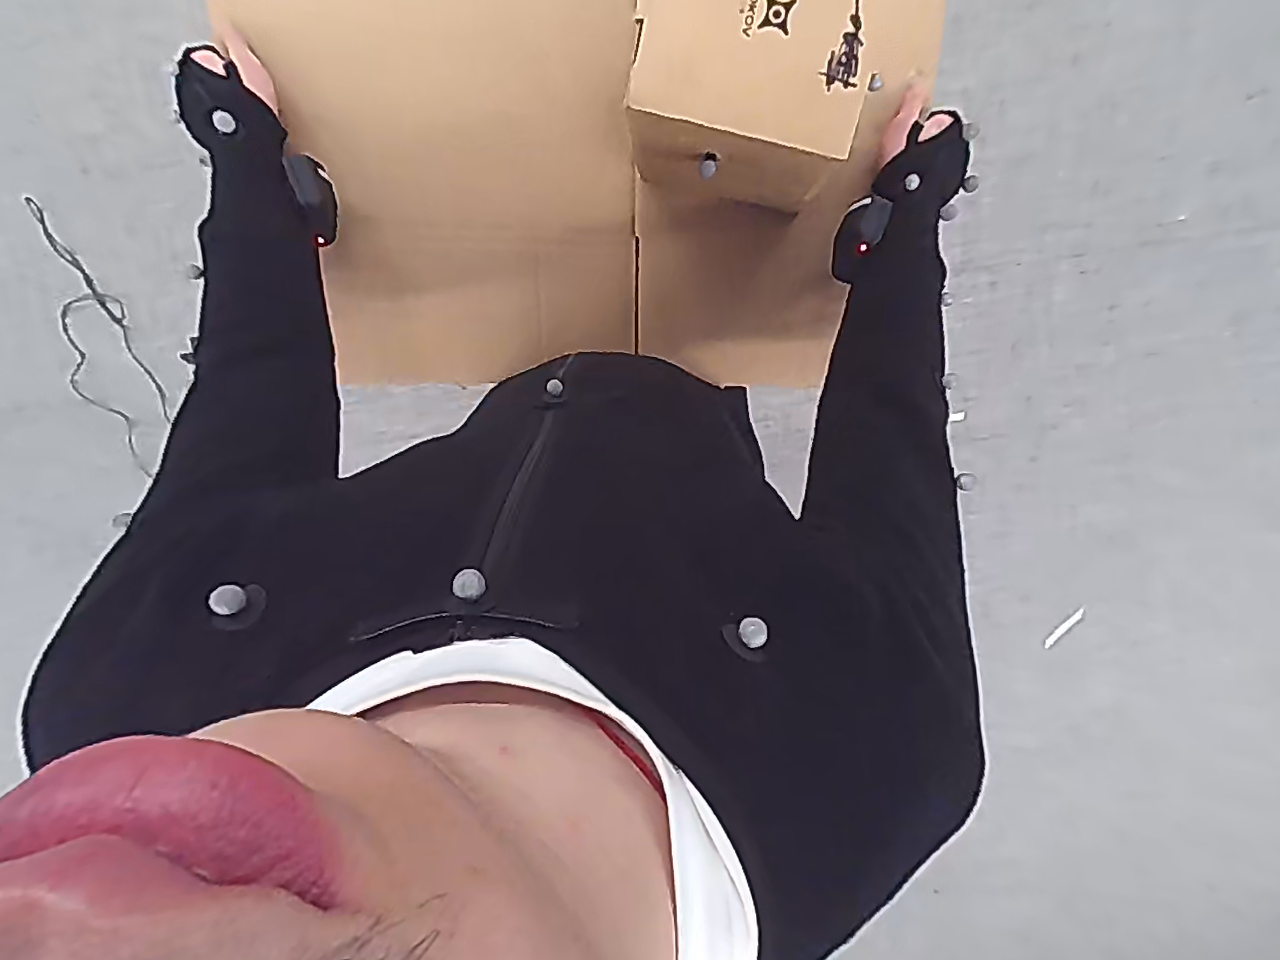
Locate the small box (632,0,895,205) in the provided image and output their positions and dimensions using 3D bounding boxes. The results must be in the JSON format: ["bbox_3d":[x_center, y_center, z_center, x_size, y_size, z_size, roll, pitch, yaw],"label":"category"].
[{"bbox_3d":[0.103,-0.363,0.476,0.179,0.176,0.168,14,104,1],"label":"small box"}]
